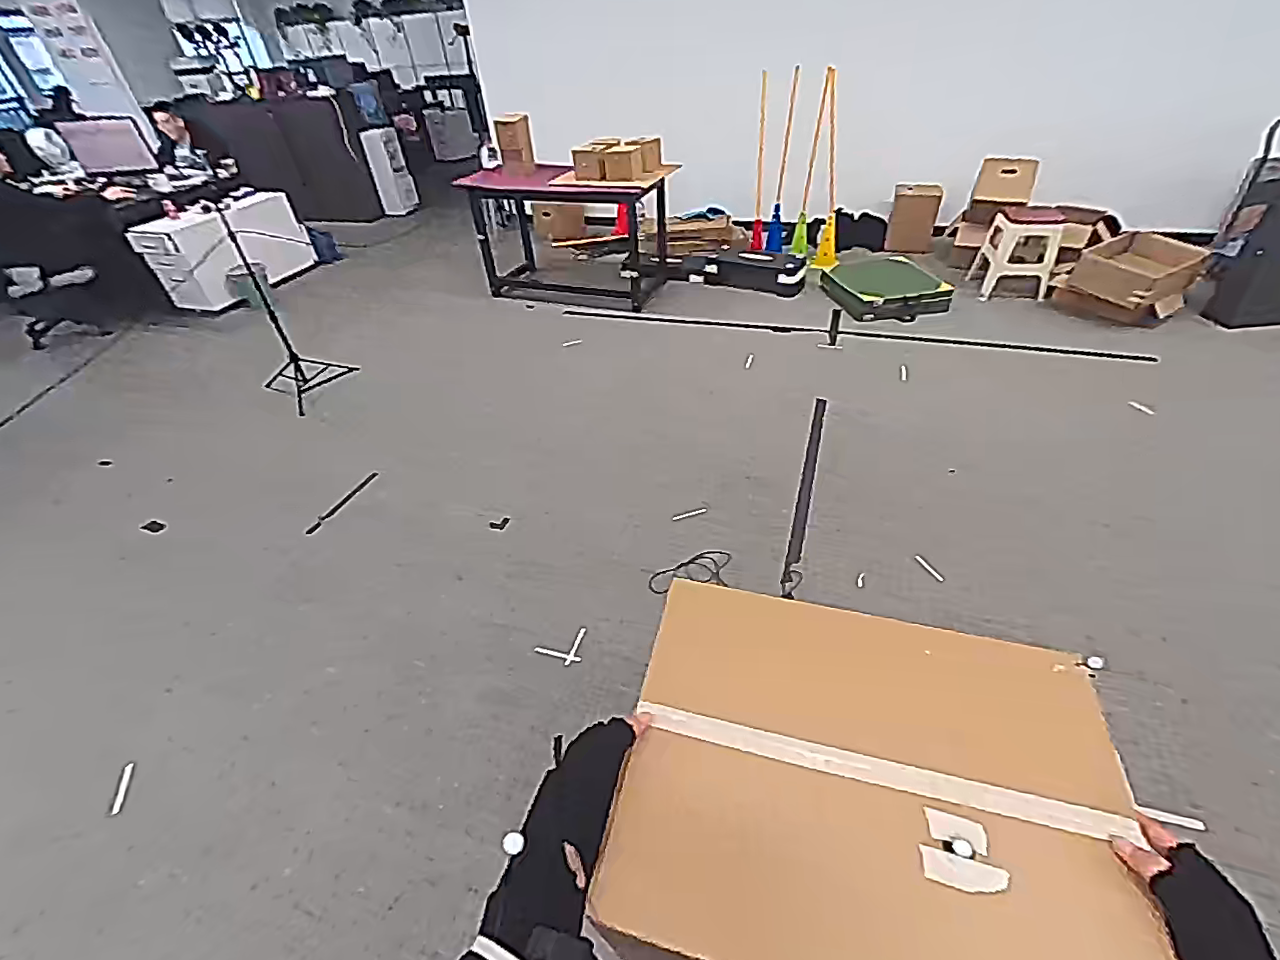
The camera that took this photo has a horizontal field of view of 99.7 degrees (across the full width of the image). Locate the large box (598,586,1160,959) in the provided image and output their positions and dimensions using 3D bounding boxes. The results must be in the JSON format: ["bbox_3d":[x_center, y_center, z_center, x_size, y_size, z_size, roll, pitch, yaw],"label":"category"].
[{"bbox_3d":[0.200,0.359,0.579,0.408,0.320,0.320,9,47,13],"label":"large box"}]
